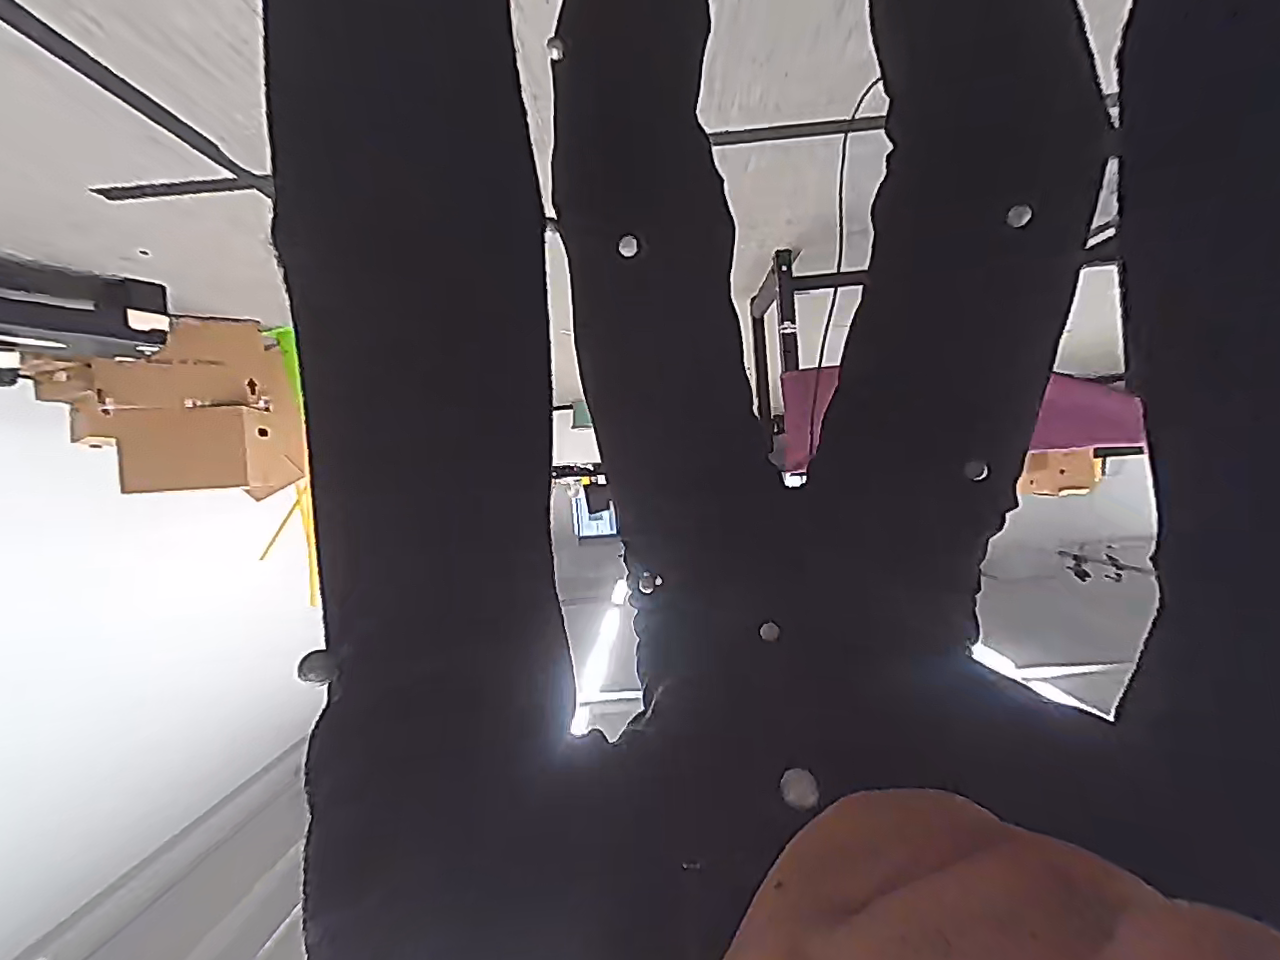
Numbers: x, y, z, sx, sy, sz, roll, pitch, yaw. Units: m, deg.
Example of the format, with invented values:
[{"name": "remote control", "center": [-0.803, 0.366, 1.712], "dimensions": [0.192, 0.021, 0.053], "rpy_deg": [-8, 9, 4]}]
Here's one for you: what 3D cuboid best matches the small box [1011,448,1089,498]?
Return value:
[{"name": "small box", "center": [1.504, -0.028, 1.995], "dimensions": [0.168, 0.176, 0.179], "rpy_deg": [-4, -178, -3]}]
